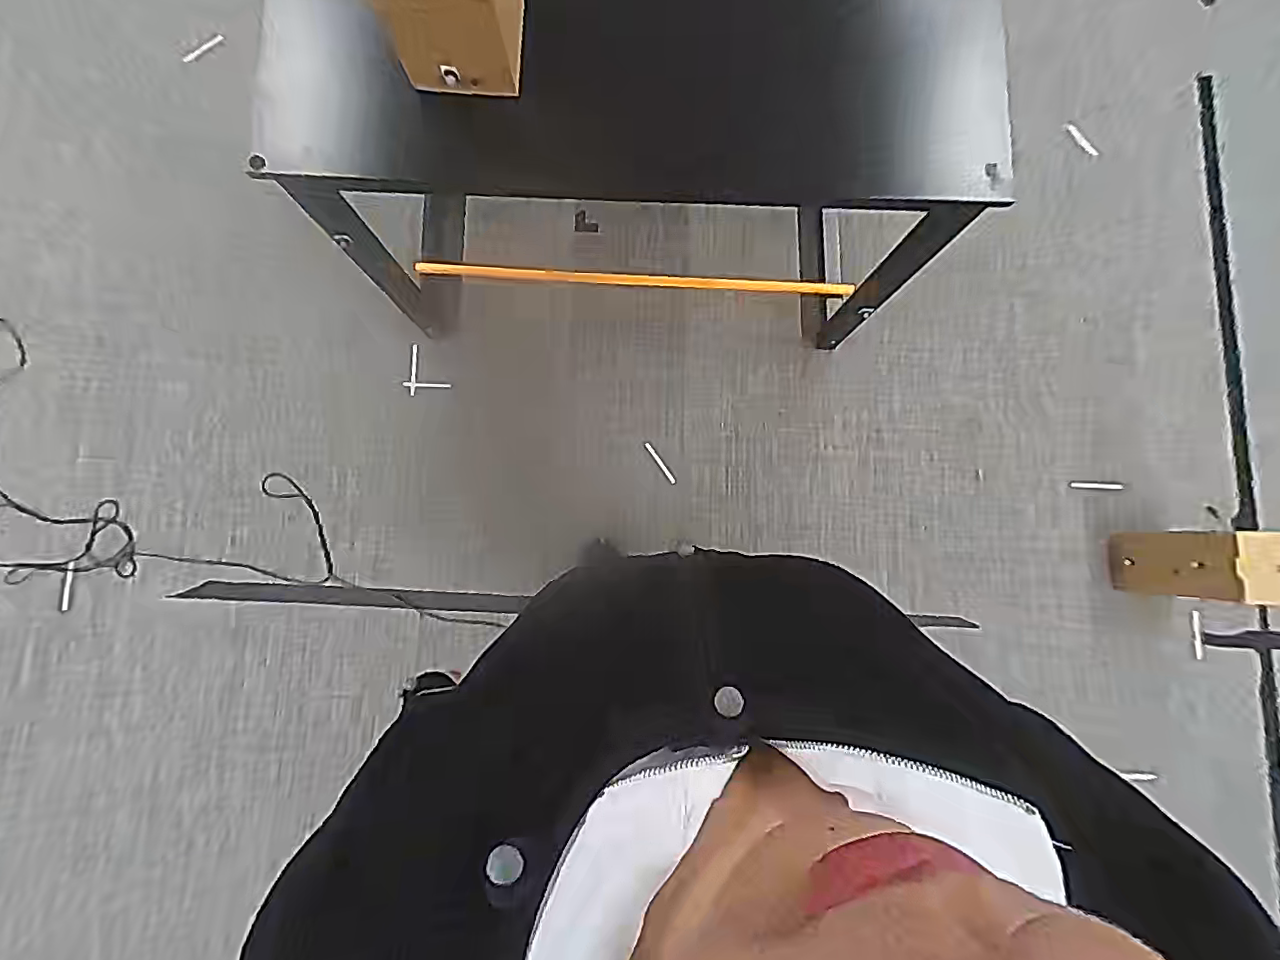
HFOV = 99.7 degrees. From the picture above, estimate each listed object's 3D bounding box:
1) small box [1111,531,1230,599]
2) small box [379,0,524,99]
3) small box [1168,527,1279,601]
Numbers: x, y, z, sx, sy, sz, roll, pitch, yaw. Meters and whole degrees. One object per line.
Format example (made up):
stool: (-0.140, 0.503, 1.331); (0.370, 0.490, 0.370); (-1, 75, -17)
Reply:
small box: (1.438, 0.226, 1.467); (0.179, 0.176, 0.168); (3, 83, -1)
small box: (-0.268, -0.706, 0.789); (0.168, 0.176, 0.179); (1, 84, -1)
small box: (1.431, 0.201, 1.305); (0.179, 0.176, 0.168); (1, 84, -1)
